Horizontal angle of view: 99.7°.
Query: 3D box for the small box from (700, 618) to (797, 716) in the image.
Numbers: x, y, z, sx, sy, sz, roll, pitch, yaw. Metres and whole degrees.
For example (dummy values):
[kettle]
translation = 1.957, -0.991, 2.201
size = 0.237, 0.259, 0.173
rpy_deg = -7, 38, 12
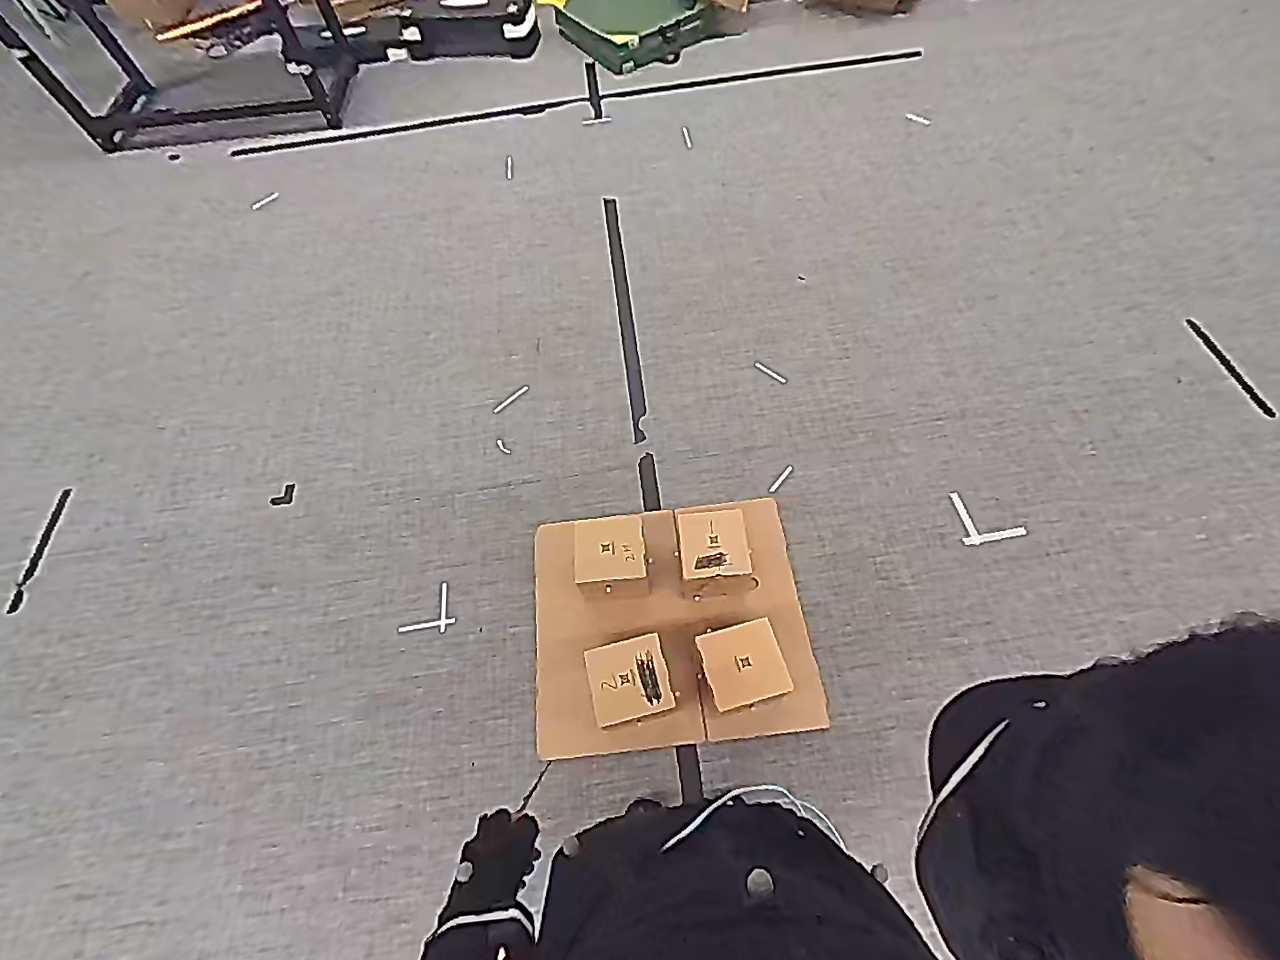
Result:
[small box]
translation = 0.245, 0.444, 1.272
size = 0.179, 0.176, 0.168
rpy_deg = -16, 61, -2
